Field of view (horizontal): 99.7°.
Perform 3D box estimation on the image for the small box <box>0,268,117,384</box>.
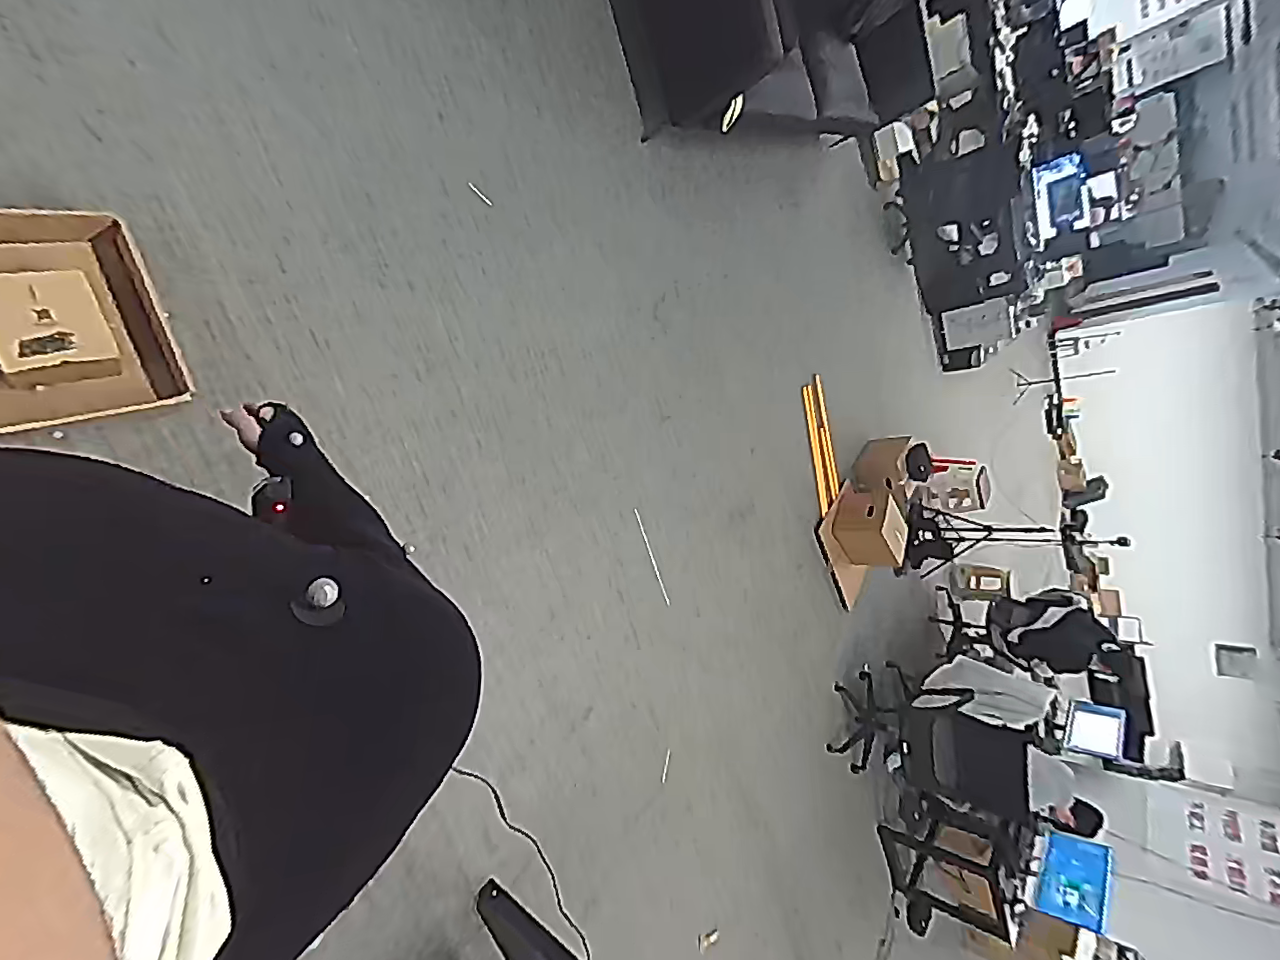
[{"bbox_3d":[-1.158,-0.293,1.051,0.168,0.176,0.179,-26,103,-43],"label":"small box"}]
